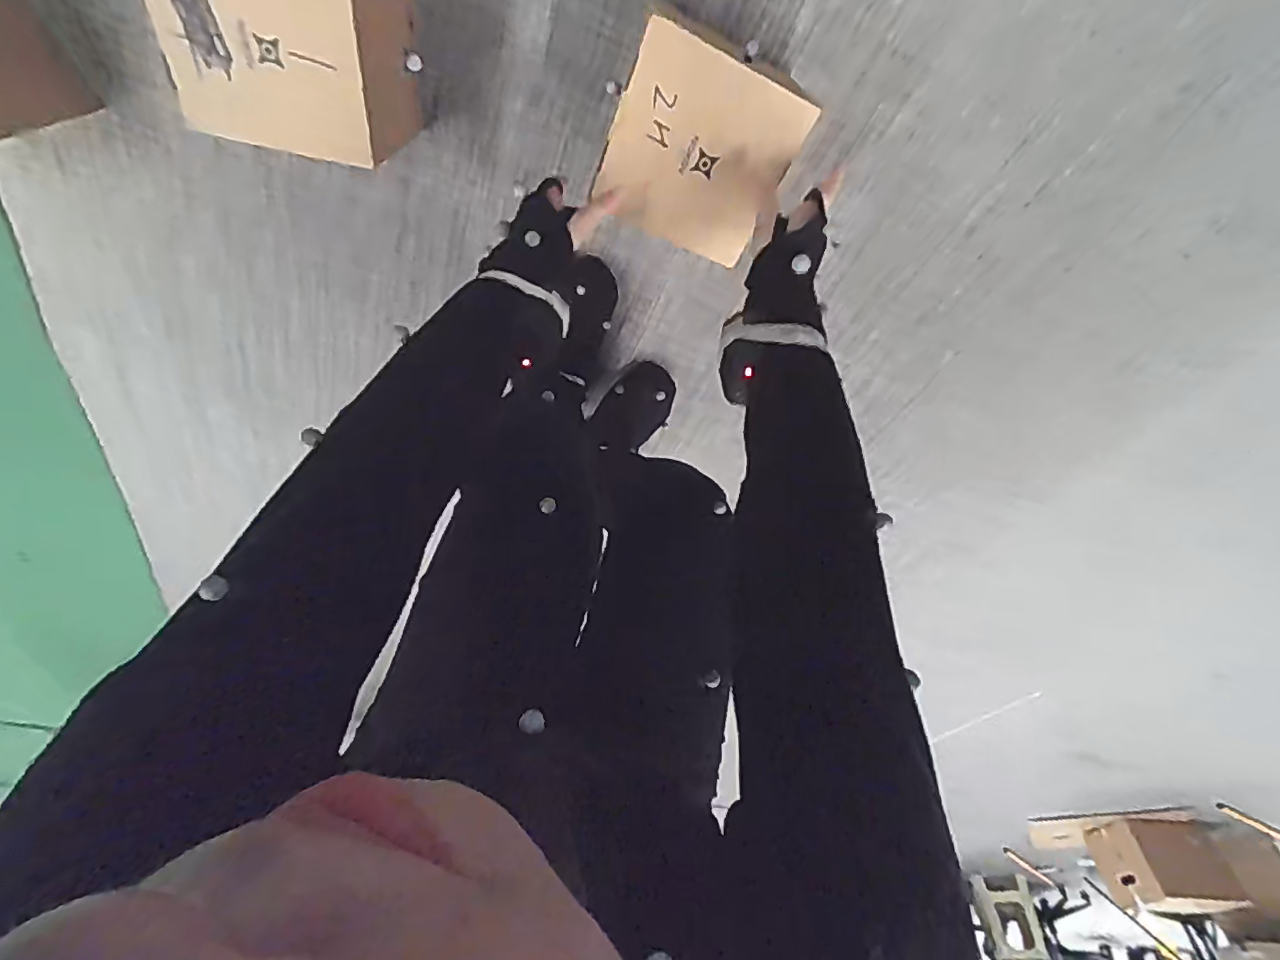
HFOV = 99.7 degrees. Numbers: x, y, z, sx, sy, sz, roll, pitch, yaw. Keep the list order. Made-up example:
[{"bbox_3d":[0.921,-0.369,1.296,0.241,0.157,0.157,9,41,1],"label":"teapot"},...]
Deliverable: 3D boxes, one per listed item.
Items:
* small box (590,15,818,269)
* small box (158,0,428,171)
[{"bbox_3d":[0.060,-0.371,0.592,0.179,0.176,0.168,19,131,-16],"label":"small box"},{"bbox_3d":[-0.329,-0.438,0.539,0.179,0.176,0.168,9,134,-8],"label":"small box"}]
